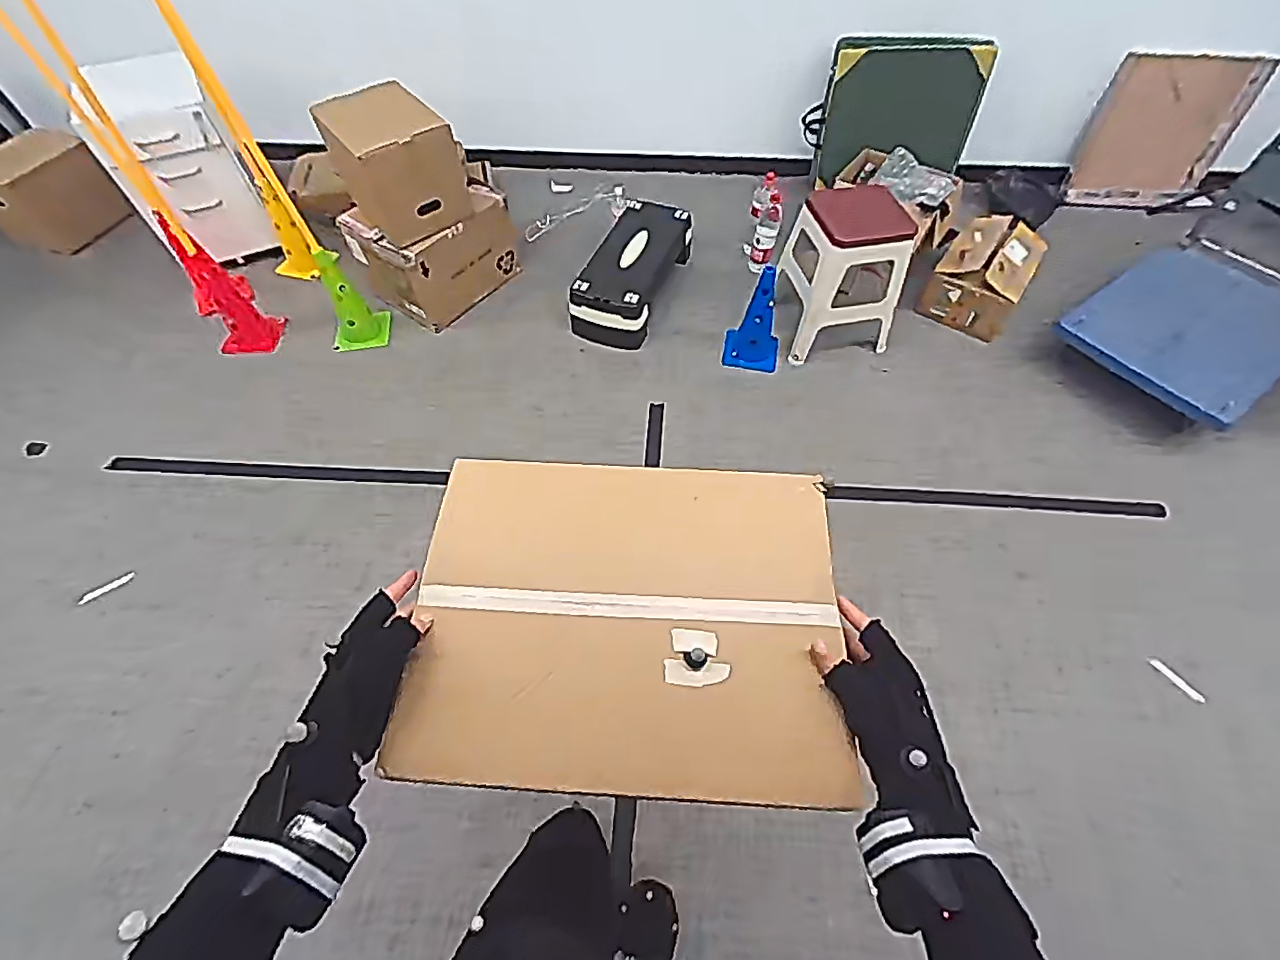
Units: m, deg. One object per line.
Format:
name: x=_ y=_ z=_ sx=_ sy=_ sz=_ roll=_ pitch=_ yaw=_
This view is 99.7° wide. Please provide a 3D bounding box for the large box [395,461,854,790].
large box: x=-0.010 y=0.192 z=0.662 sx=0.408 sy=0.320 sz=0.320 roll=3 pitch=61 yaw=2
